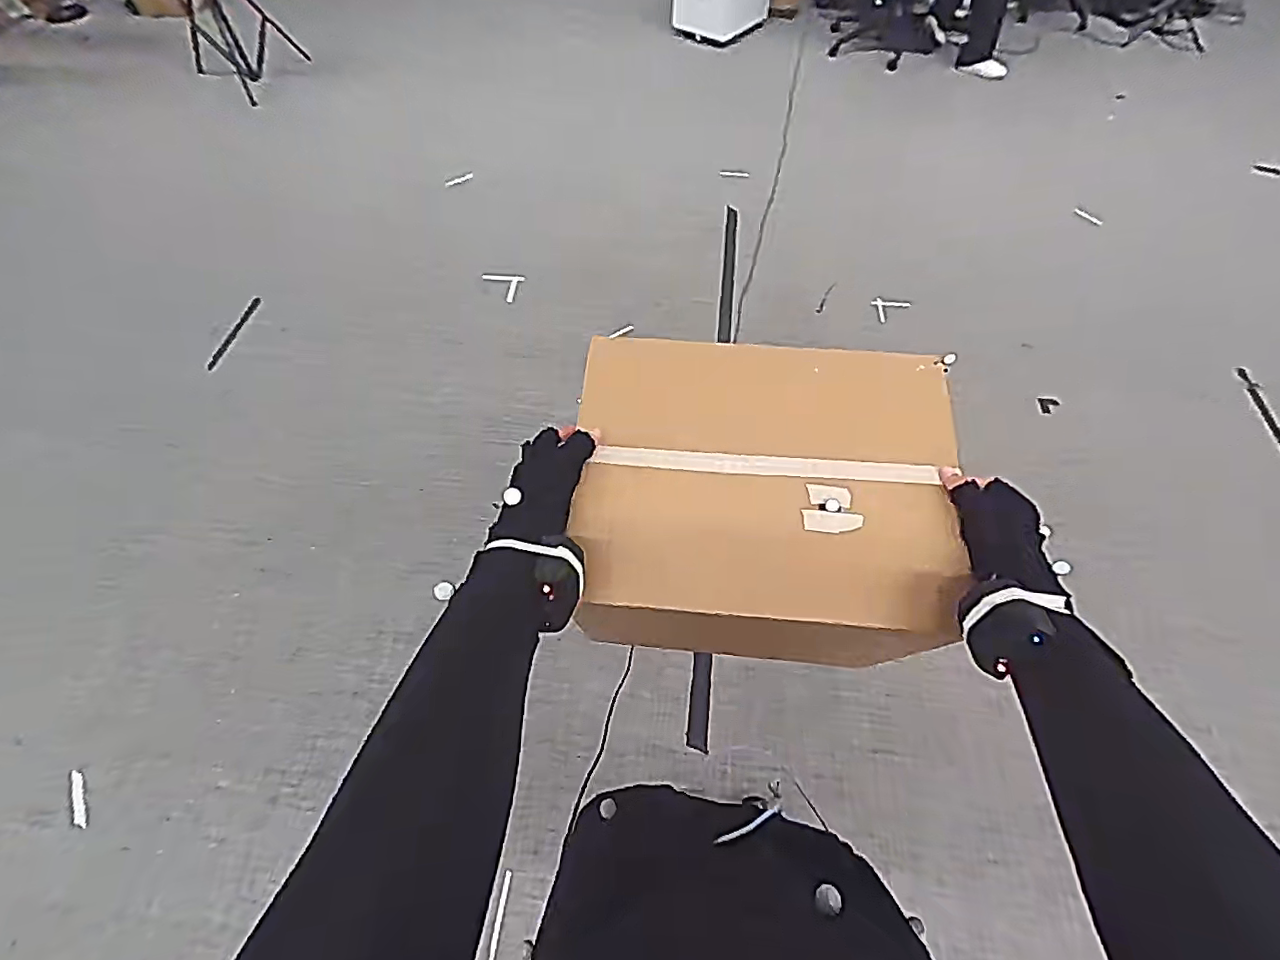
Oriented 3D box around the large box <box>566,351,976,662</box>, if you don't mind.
[{"bbox_3d":[0.137,0.053,0.717,0.408,0.320,0.320,4,67,4],"label":"large box"}]
